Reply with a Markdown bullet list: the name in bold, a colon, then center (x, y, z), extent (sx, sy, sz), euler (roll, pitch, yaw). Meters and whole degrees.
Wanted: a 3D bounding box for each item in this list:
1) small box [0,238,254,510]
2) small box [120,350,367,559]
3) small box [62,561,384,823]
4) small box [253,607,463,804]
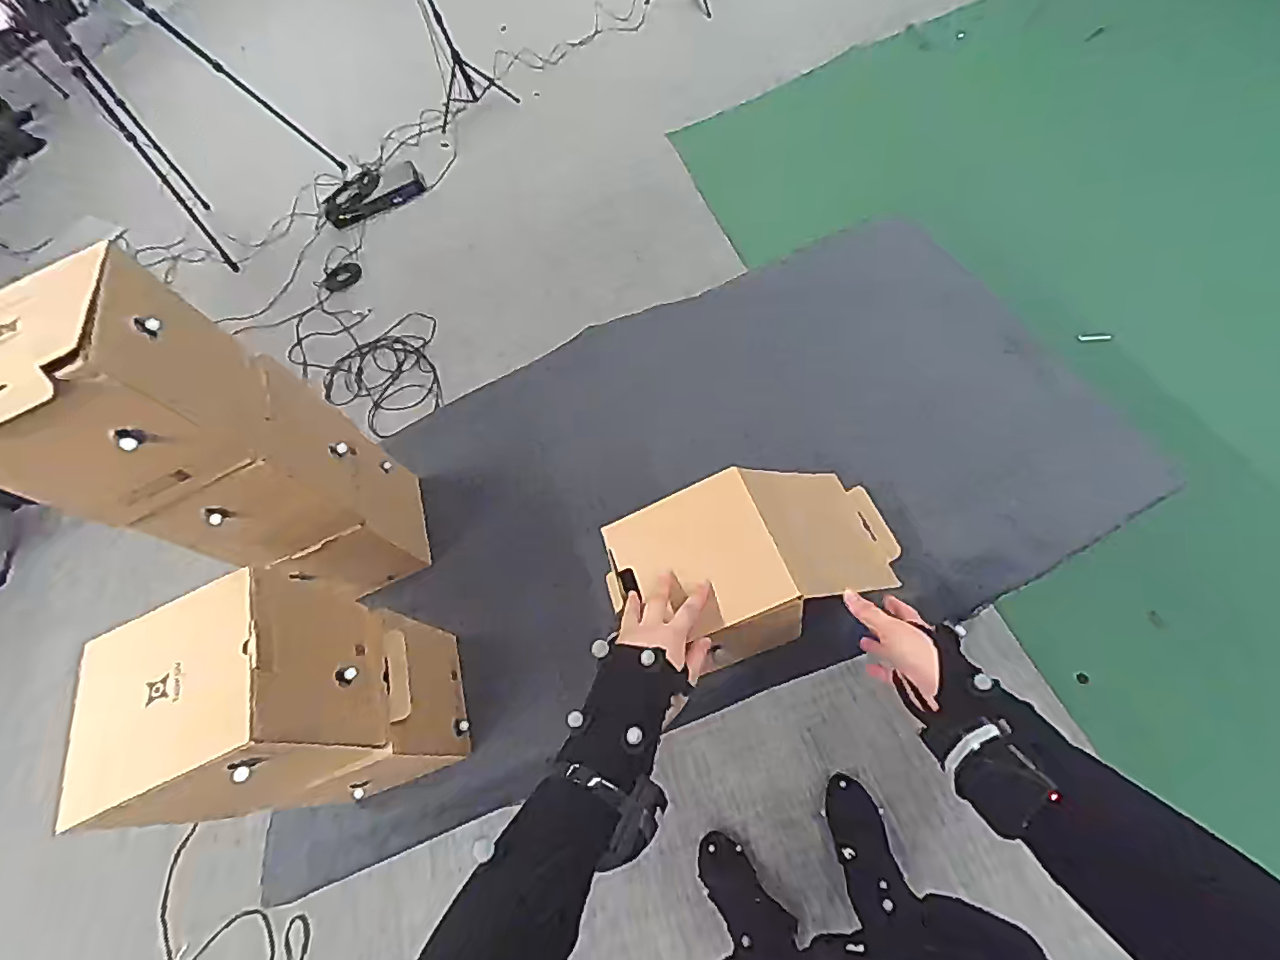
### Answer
- **small box**: center (-0.518, -0.090, 0.533), extent (0.168, 0.176, 0.179), euler (-26, 59, -1)
- **small box**: center (-0.475, -0.021, 0.674), extent (0.179, 0.176, 0.168), euler (-23, 61, 2)
- **small box**: center (-0.390, 0.211, 0.535), extent (0.179, 0.176, 0.168), euler (-26, 60, 0)
- **small box**: center (-0.338, 0.280, 0.674), extent (0.179, 0.176, 0.168), euler (-22, 60, 3)
